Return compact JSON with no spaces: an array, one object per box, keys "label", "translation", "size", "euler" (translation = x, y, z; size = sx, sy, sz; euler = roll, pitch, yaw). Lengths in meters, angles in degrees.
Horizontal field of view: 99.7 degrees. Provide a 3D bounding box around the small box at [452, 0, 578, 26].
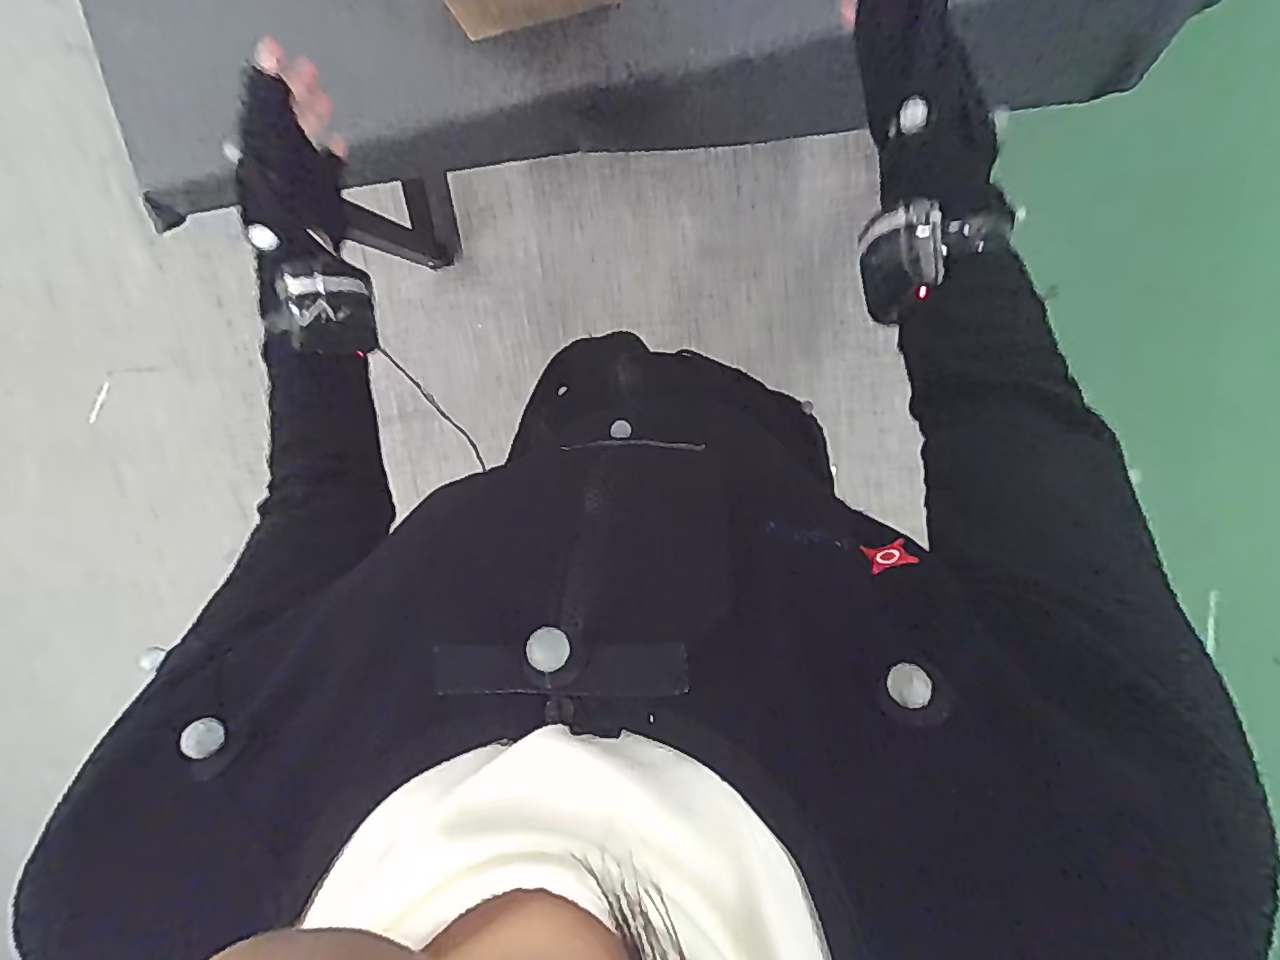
[{"label":"small box","translation":[-0.124,-0.568,0.490],"size":[0.179,0.176,0.168],"euler":[-8,101,9]}]
